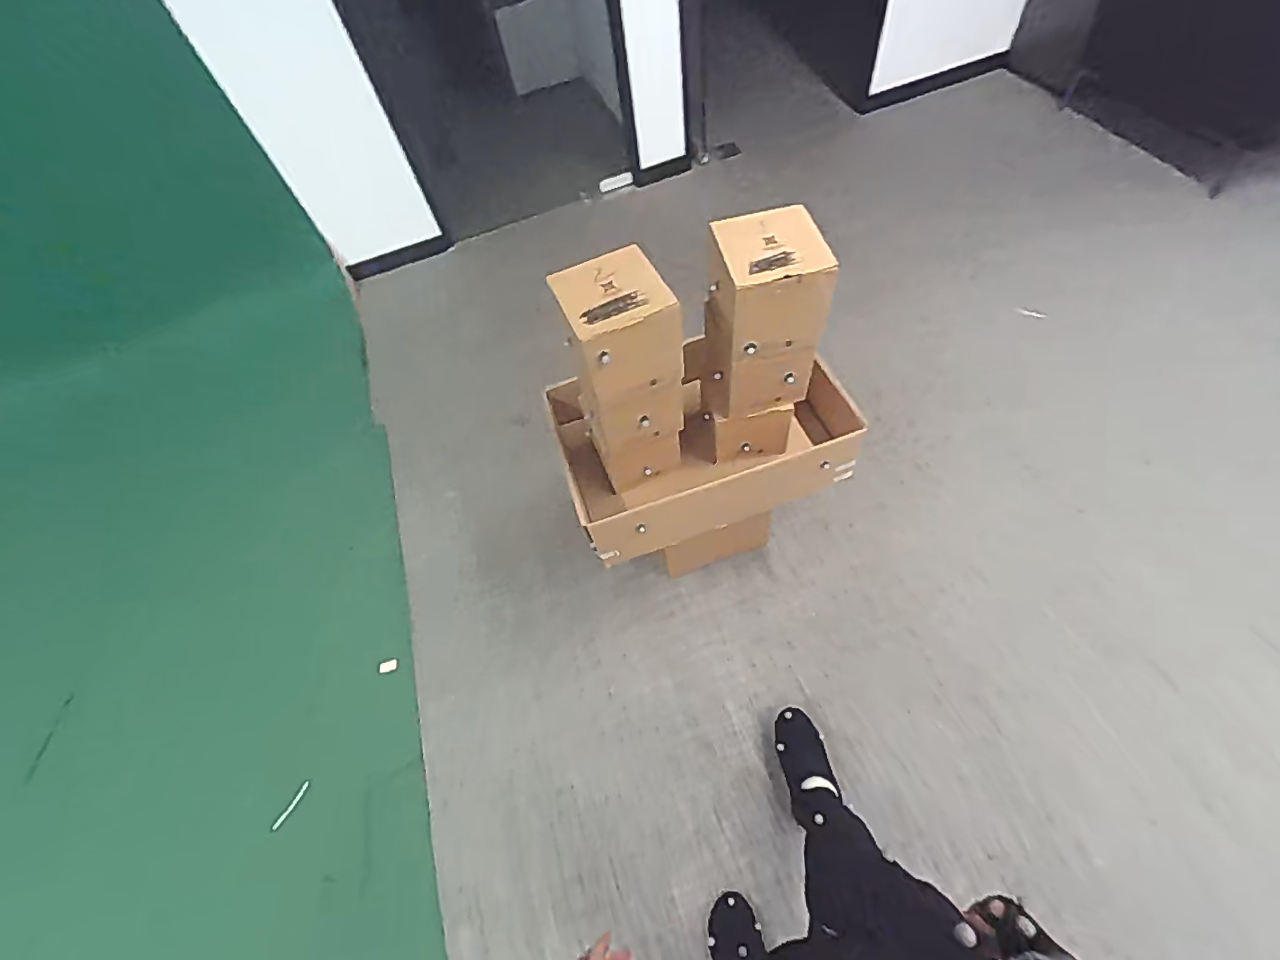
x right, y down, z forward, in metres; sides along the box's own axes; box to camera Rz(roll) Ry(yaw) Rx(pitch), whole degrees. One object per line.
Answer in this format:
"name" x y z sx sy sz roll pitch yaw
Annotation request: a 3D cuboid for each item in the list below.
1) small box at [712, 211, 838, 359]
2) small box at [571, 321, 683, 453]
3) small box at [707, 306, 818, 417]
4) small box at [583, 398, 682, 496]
"small box" 0.224 -0.329 0.943 0.168 0.176 0.179 -11 57 0
"small box" -0.020 -0.174 1.069 0.168 0.176 0.179 -21 58 -7
"small box" 0.237 -0.244 1.082 0.168 0.176 0.179 -13 57 -2
"small box" -0.015 -0.095 1.214 0.168 0.176 0.179 -22 58 -6
